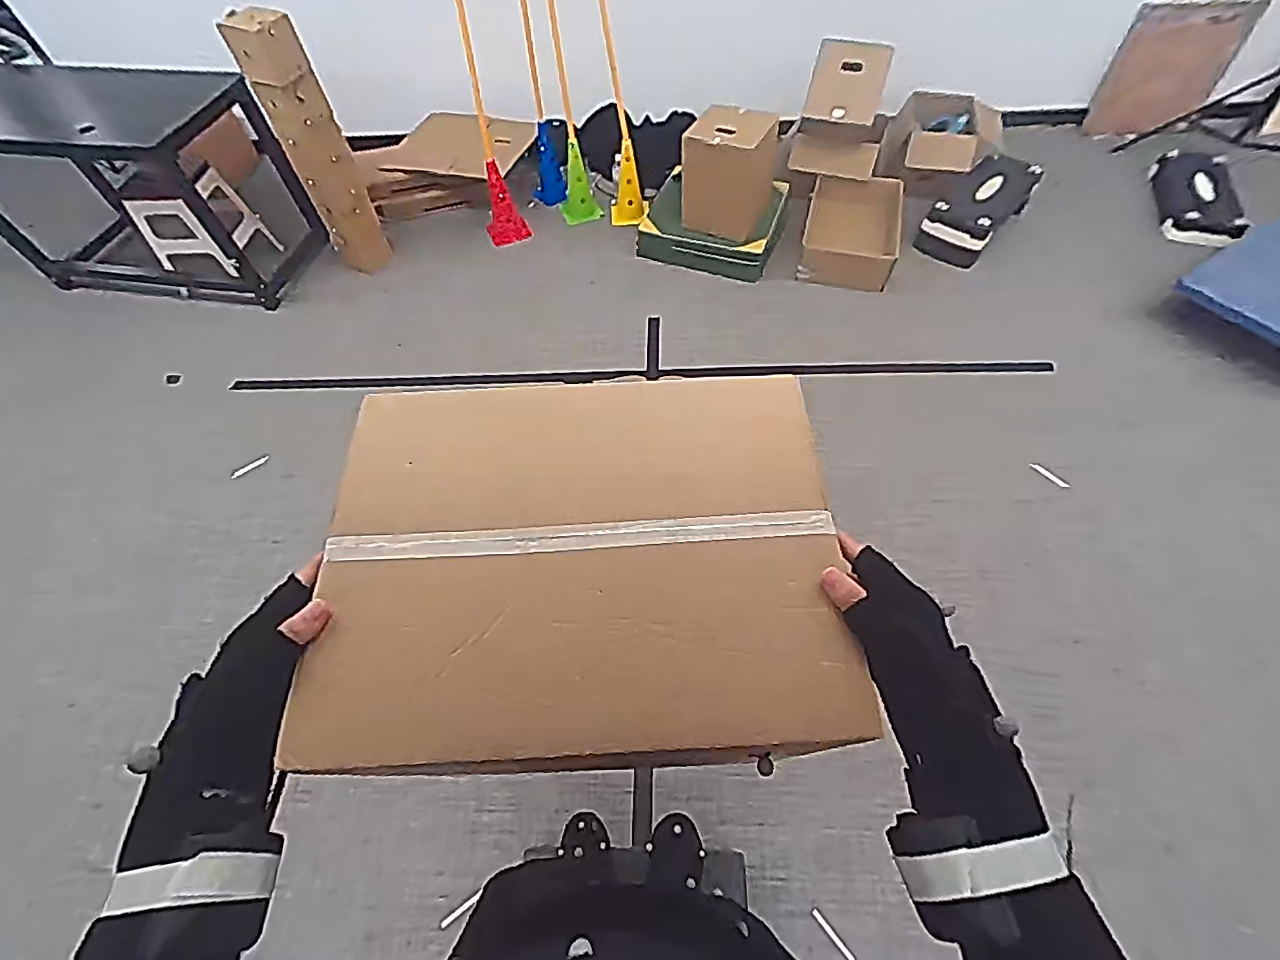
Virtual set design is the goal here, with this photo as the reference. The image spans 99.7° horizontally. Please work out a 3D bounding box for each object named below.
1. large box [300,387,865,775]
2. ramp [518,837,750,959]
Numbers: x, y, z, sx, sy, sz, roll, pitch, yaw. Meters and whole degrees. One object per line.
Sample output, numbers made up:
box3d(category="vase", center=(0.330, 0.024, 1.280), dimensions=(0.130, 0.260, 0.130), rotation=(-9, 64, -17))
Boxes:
box3d(category="large box", center=(-0.043, 0.127, 0.576), dimensions=(0.408, 0.320, 0.320), rotation=(-3, 60, 0))
box3d(category="ramp", center=(-0.016, 1.267, 1.025), dimensions=(0.509, 0.206, 0.991), rotation=(-1, 58, 0))
